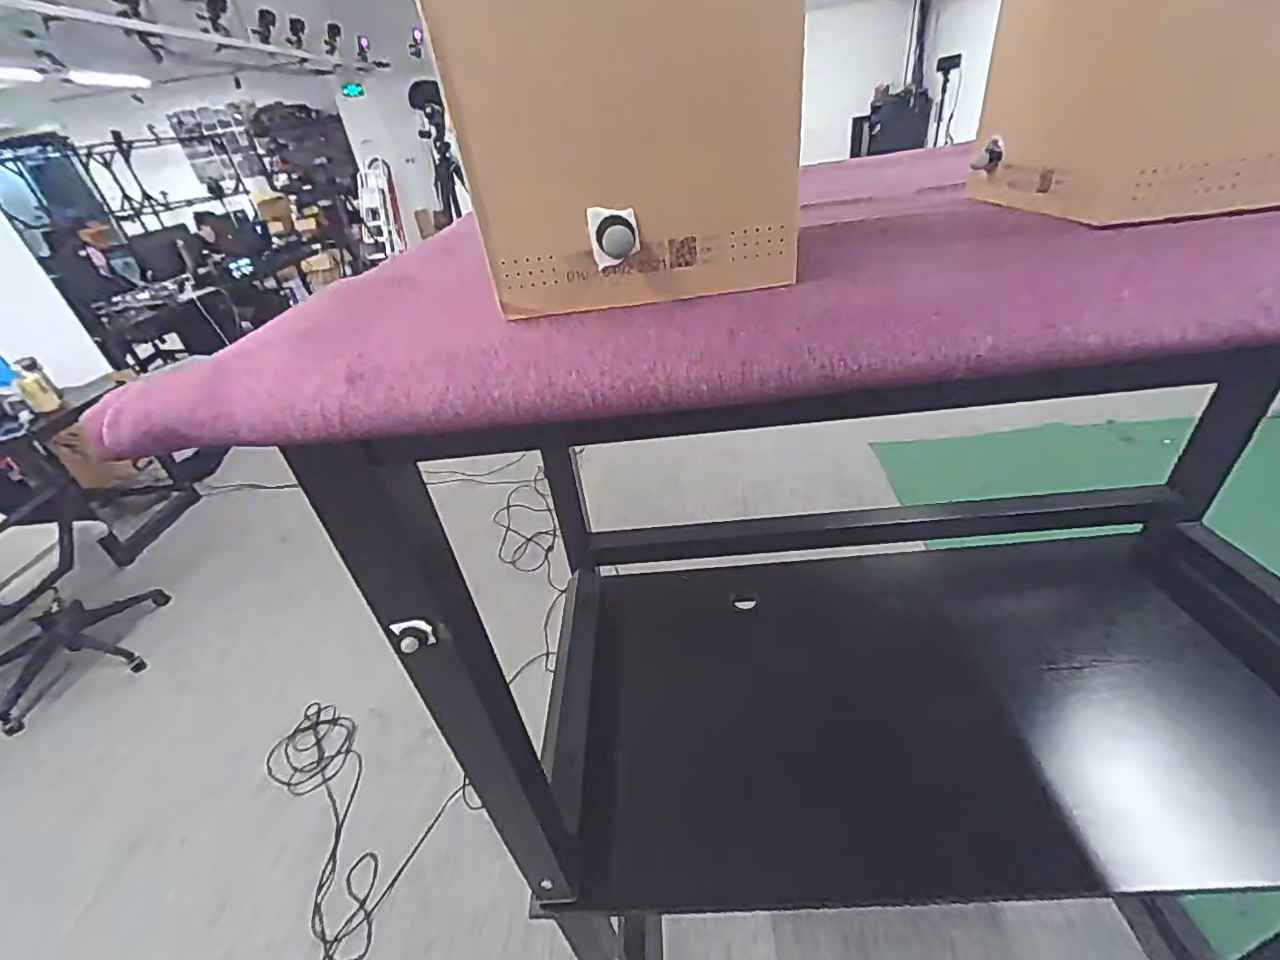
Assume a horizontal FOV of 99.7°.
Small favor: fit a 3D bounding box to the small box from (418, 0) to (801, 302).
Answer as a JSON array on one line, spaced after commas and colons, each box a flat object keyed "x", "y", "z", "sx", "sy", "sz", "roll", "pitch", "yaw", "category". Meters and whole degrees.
[{"x": -0.014, "y": -0.217, "z": 0.315, "sx": 0.168, "sy": 0.176, "sz": 0.179, "roll": -8, "pitch": 35, "yaw": 2, "category": "small box"}]

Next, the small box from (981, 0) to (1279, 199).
[{"x": 0.332, "y": -0.273, "z": 0.318, "sx": 0.179, "sy": 0.176, "sz": 0.168, "roll": -5, "pitch": 33, "yaw": 5, "category": "small box"}]
